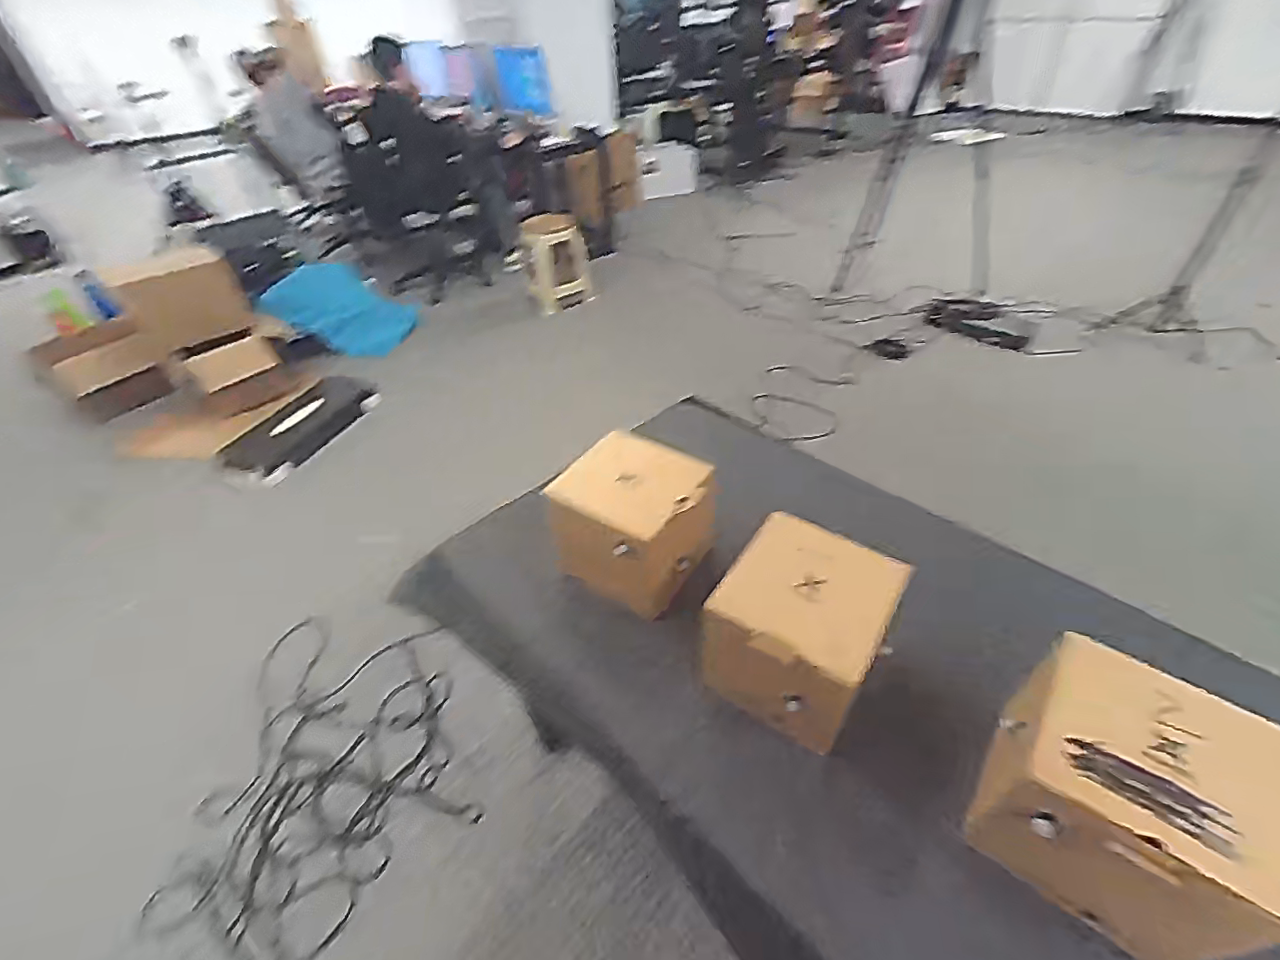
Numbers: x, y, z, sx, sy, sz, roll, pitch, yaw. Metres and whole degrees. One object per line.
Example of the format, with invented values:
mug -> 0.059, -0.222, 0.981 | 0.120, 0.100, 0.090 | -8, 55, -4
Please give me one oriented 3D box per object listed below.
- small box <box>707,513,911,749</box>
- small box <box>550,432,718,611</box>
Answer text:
small box -> 0.192, 0.177, 0.643 | 0.168, 0.176, 0.179 | 25, 47, 27
small box -> -0.006, 0.060, 0.791 | 0.179, 0.176, 0.168 | 23, 47, 26
